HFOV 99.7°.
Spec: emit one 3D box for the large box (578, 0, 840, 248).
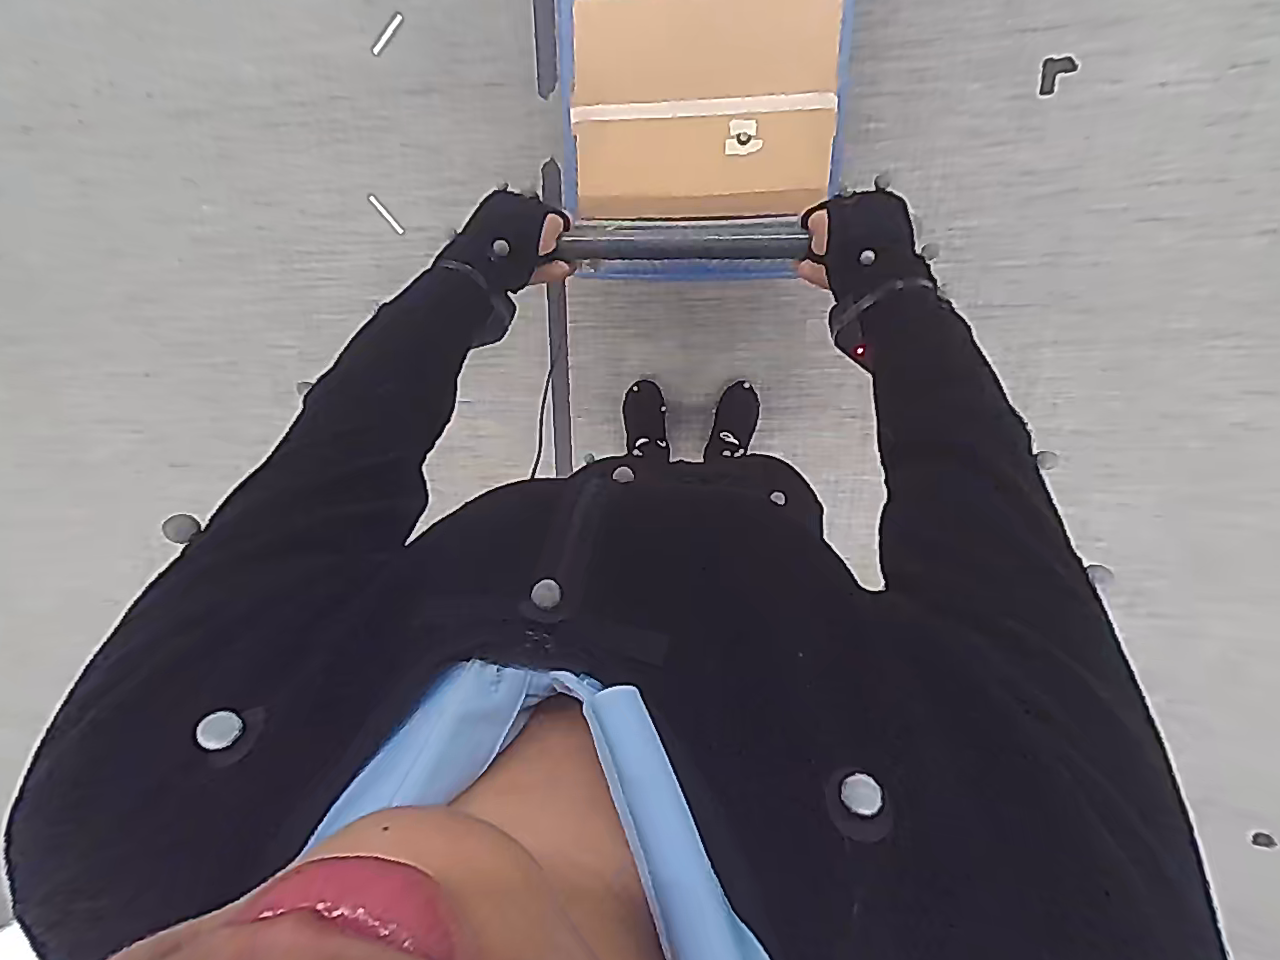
[{"bbox_3d":[0.116,-0.623,1.003,0.408,0.320,0.320,1,106,6],"label":"large box"}]
